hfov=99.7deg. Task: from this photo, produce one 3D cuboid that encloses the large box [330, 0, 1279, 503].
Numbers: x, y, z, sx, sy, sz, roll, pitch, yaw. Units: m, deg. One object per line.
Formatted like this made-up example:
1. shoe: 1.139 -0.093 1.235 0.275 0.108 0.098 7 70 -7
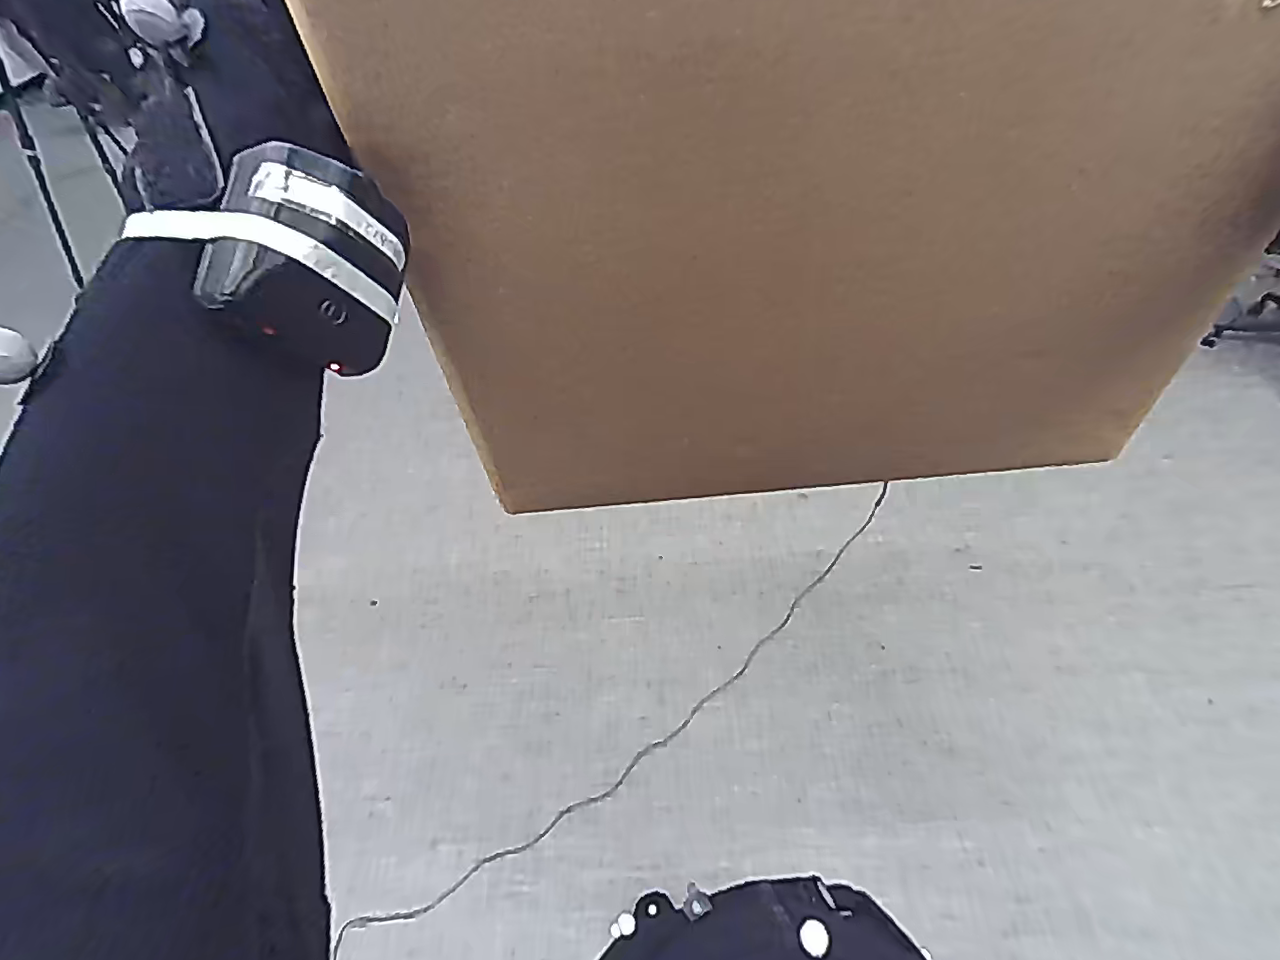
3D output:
1. large box: 0.085 -0.210 0.371 0.408 0.320 0.320 -5 45 2
